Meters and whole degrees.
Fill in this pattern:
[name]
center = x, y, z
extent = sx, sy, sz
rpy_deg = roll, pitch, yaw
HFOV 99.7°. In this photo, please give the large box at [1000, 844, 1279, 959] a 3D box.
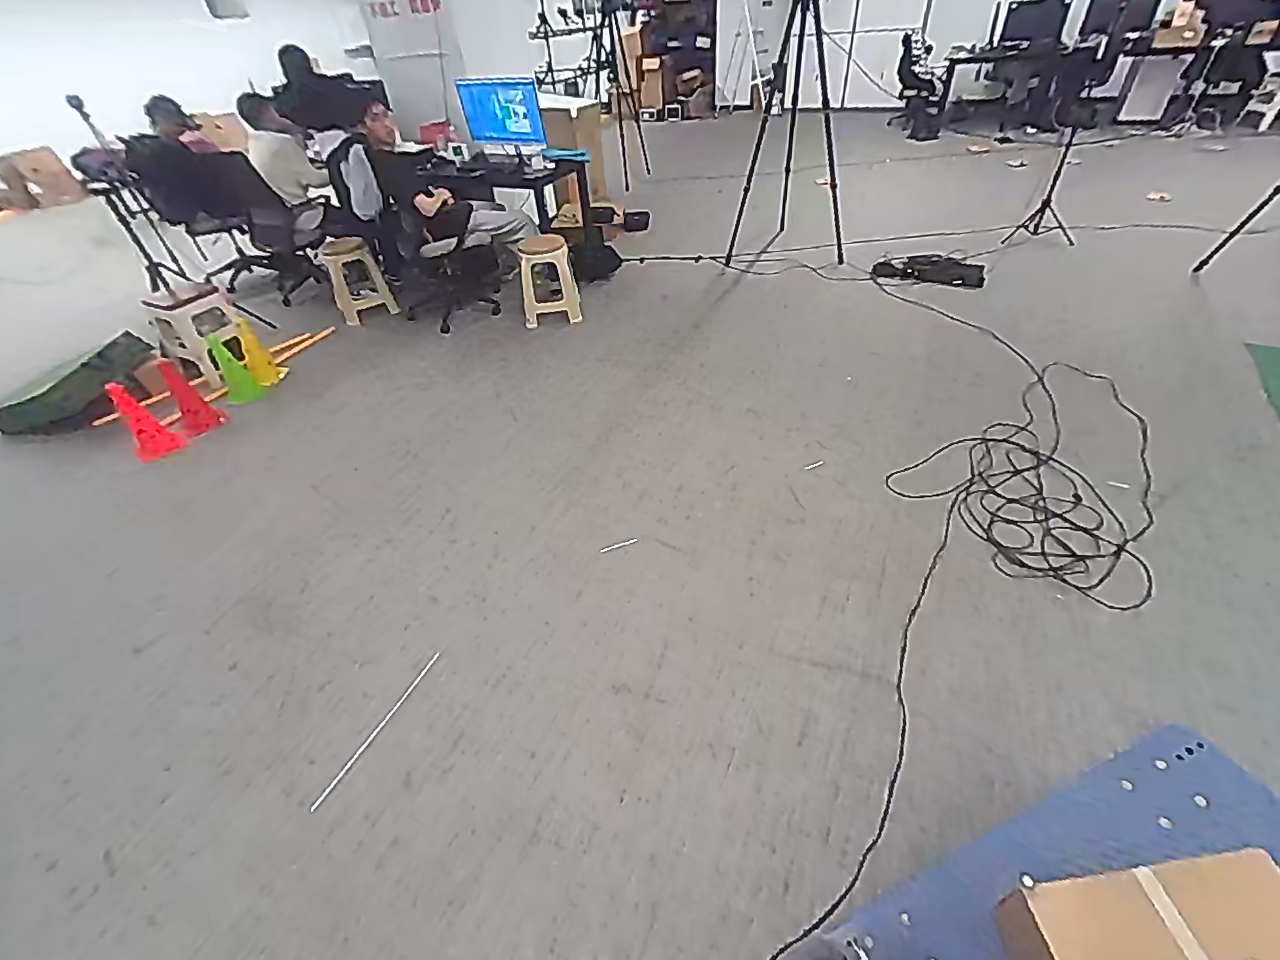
[large box]
center = 0.757, 0.769, 0.709
extent = 0.320, 0.320, 0.408
rpy_deg = -17, 44, 9
